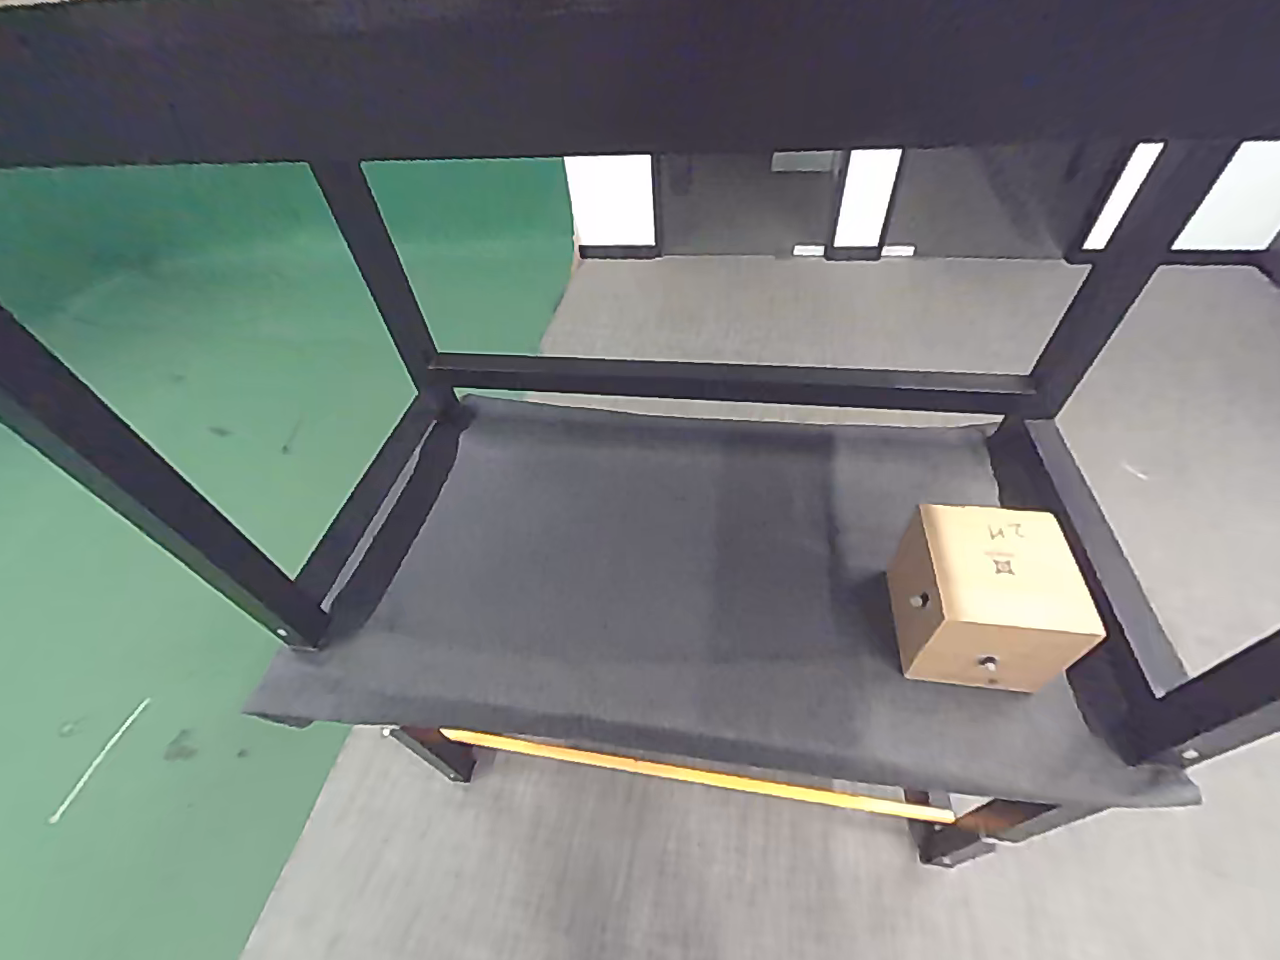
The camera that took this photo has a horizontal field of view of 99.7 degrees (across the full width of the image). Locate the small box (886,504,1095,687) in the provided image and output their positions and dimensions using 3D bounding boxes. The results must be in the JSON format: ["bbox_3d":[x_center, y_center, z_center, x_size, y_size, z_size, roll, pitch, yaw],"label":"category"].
[{"bbox_3d":[0.443,0.155,0.720,0.168,0.176,0.179,4,48,9],"label":"small box"}]
